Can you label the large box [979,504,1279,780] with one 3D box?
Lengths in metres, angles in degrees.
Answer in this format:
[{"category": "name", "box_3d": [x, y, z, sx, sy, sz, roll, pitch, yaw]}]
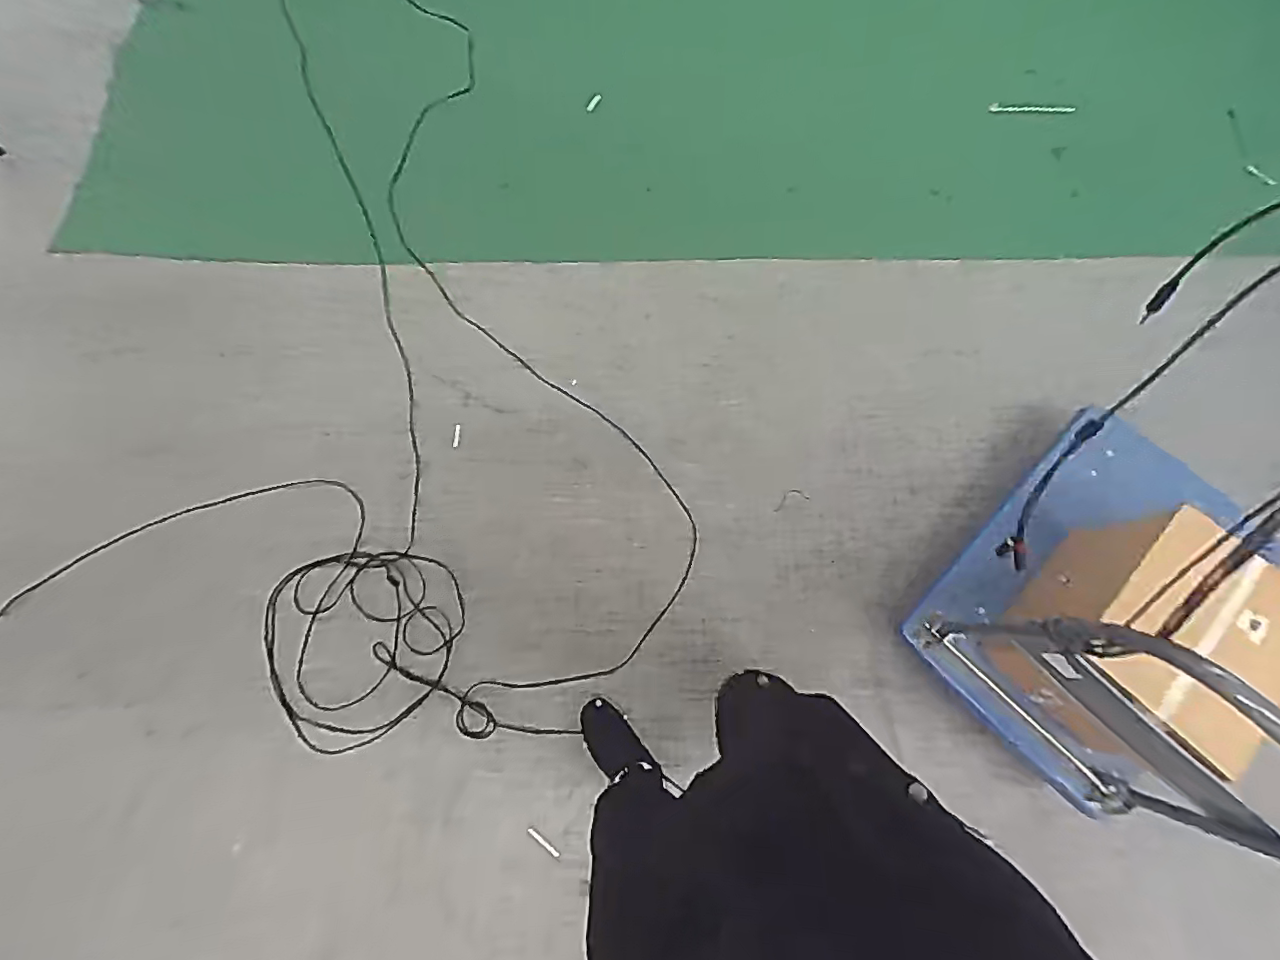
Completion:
[{"category": "large box", "box_3d": [1.031, 0.327, 1.136, 0.408, 0.320, 0.320, -43, 79, -13]}]
